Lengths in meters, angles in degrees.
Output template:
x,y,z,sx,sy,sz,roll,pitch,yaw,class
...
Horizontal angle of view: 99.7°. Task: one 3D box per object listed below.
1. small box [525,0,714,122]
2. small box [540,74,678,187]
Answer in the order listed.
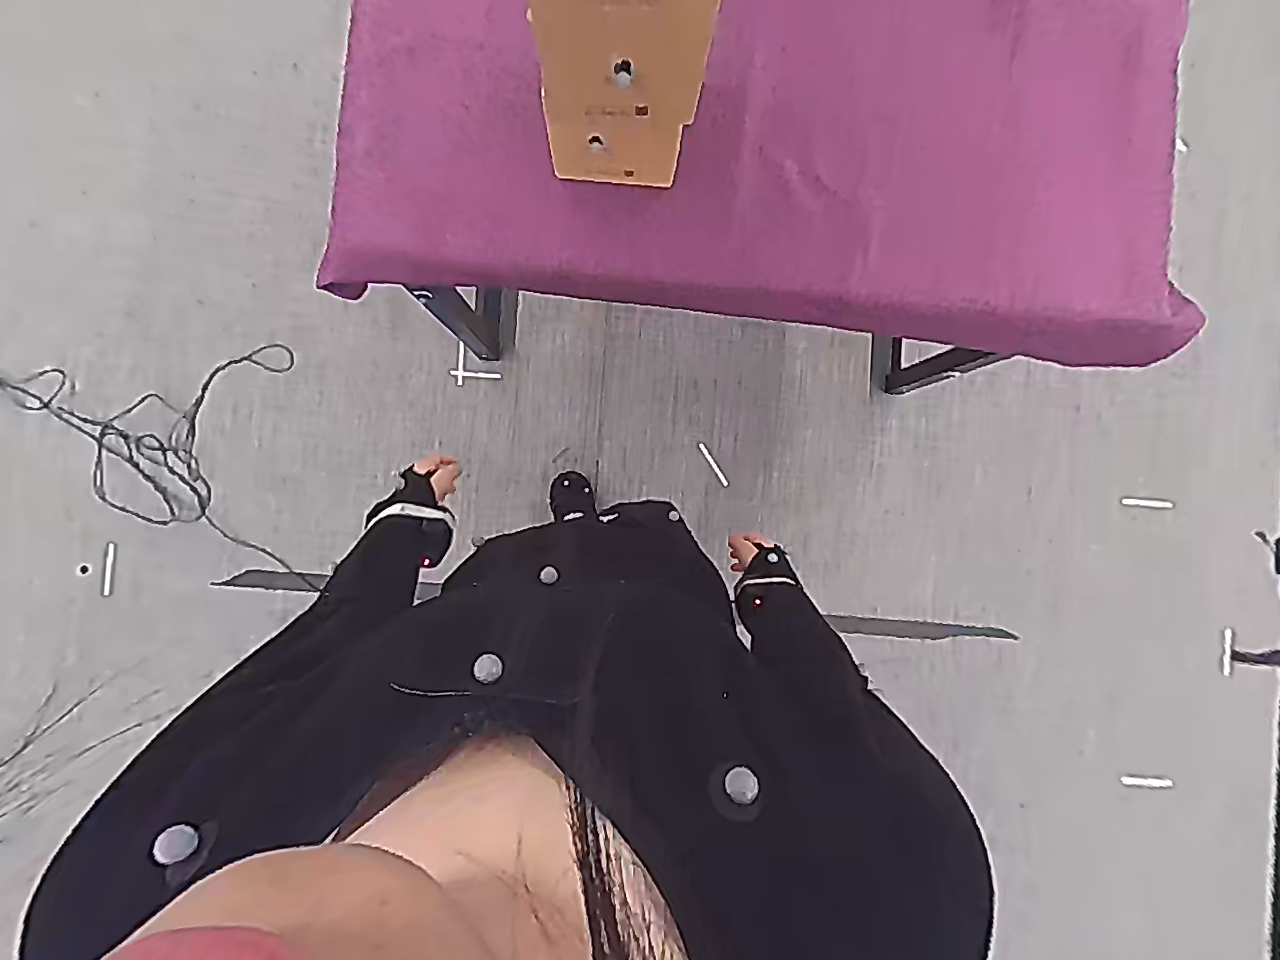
x,y,z,sx,sy,sz,roll,pitch,yaw,class
-0.020,-0.490,0.535,0.168,0.176,0.179,-1,89,-3,small box
-0.031,-0.509,0.699,0.168,0.176,0.179,3,89,-3,small box
